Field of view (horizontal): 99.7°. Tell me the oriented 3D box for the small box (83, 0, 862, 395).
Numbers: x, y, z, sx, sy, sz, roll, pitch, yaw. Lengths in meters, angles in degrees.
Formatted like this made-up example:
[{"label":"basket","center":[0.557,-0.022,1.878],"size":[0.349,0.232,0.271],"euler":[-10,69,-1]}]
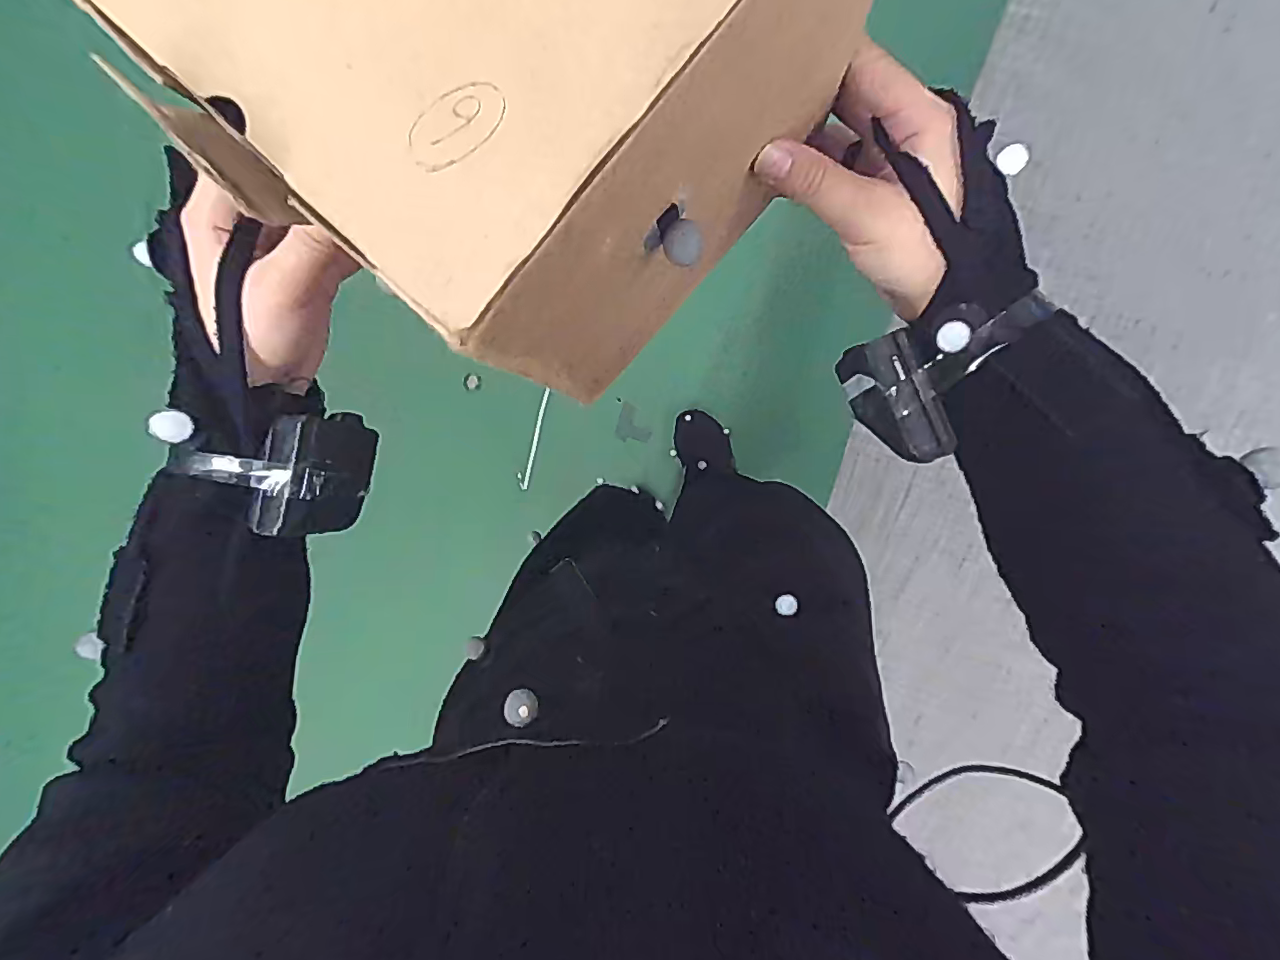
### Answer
[{"label":"small box","center":[-0.034,-0.151,0.213],"size":[0.168,0.176,0.179],"euler":[43,97,2]}]
